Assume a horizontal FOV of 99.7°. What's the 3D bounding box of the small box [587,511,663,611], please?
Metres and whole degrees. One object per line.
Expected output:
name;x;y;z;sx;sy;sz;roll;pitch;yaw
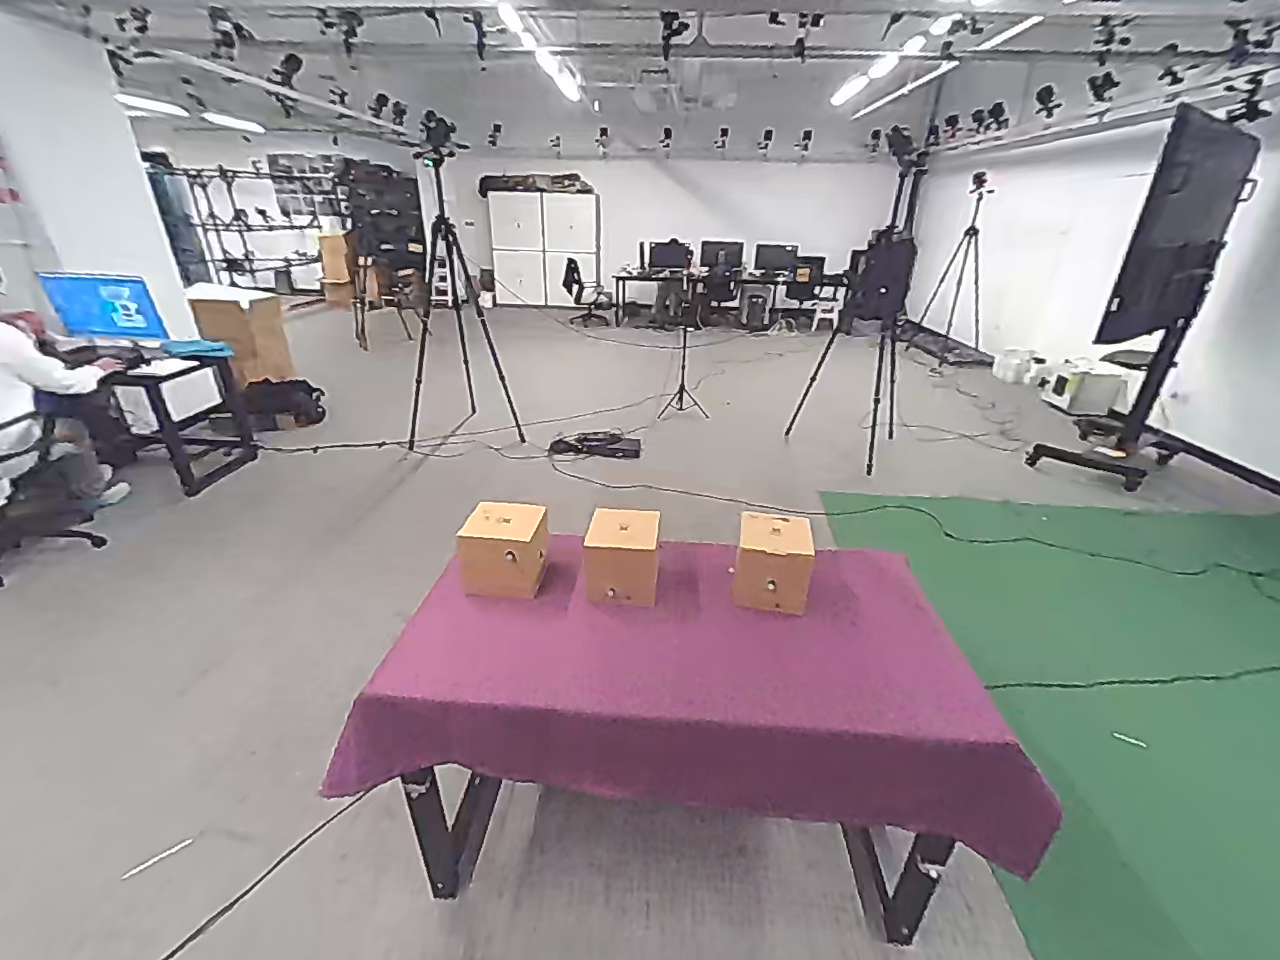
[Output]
small box;-0.033;0.194;1.319;0.168;0.176;0.179;3;26;6

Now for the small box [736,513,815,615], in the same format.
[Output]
small box;0.324;0.201;1.305;0.168;0.176;0.179;6;27;10

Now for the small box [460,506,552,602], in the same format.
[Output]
small box;-0.320;0.182;1.334;0.179;0.176;0.168;3;26;5
